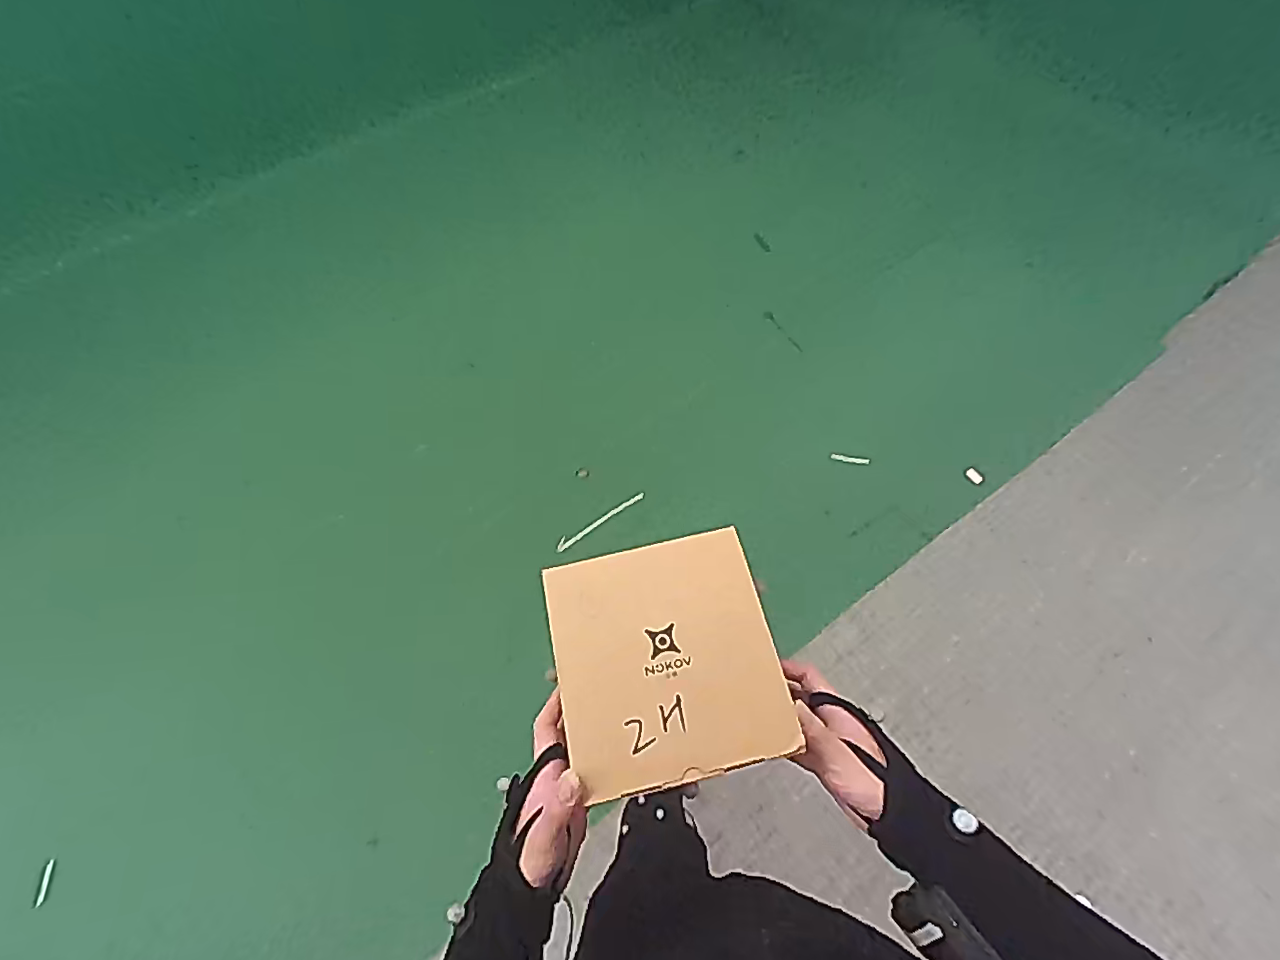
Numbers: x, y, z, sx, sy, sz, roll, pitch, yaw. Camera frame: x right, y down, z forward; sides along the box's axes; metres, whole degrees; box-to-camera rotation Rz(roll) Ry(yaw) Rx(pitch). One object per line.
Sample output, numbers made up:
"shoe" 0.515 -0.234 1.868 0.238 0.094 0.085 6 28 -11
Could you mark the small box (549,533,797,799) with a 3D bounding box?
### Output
"small box" 0.021 0.171 0.490 0.168 0.176 0.179 -12 63 -2
